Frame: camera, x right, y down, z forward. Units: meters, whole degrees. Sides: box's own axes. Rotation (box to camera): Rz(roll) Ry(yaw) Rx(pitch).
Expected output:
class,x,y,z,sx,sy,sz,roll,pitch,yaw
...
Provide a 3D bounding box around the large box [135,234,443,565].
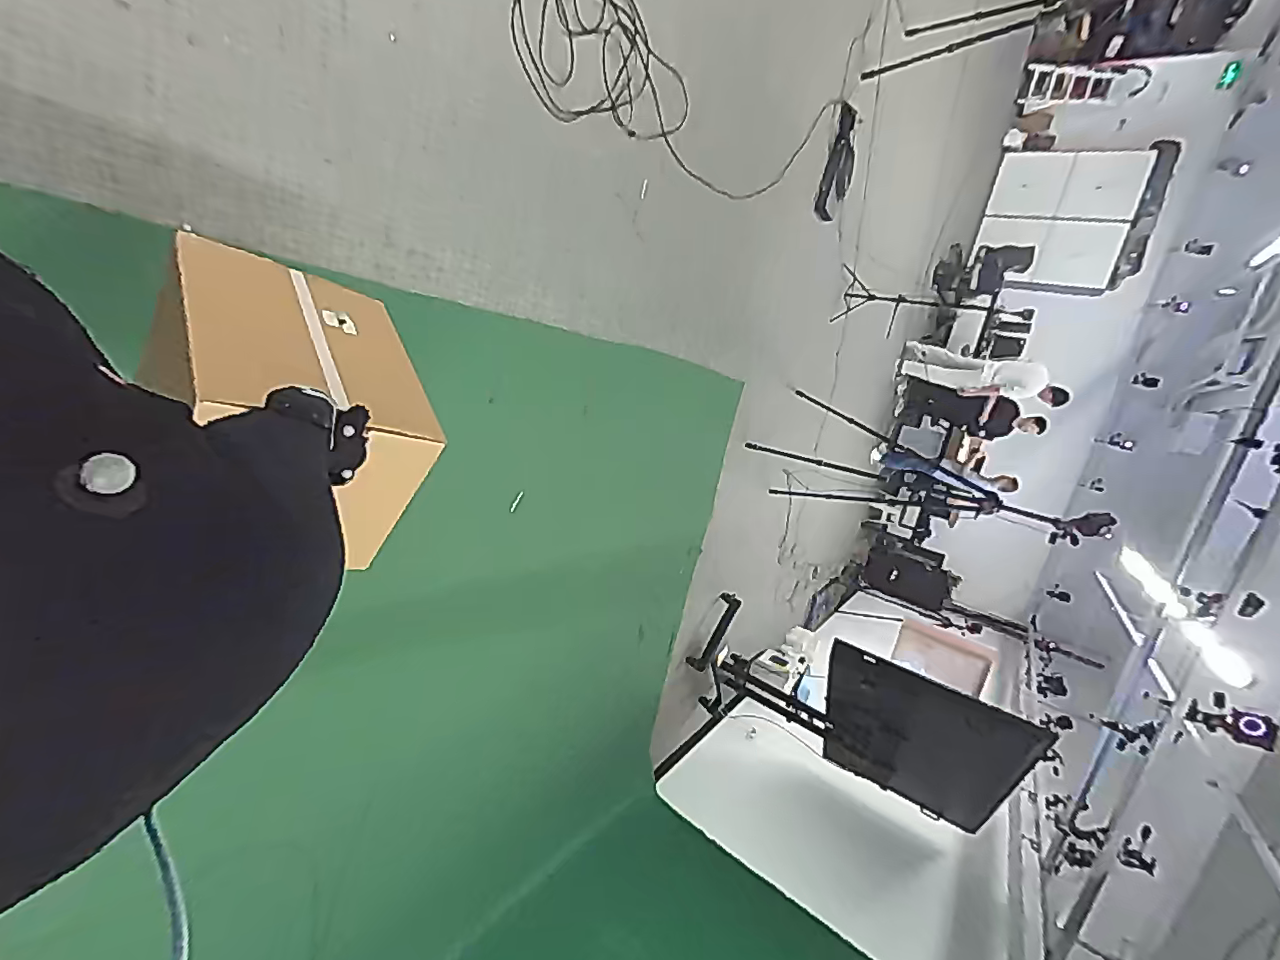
class,x,y,z,sx,sy,sz,roll,pitch,yaw
large box,-0.591,-0.112,0.891,0.320,0.408,0.320,10,127,-51
